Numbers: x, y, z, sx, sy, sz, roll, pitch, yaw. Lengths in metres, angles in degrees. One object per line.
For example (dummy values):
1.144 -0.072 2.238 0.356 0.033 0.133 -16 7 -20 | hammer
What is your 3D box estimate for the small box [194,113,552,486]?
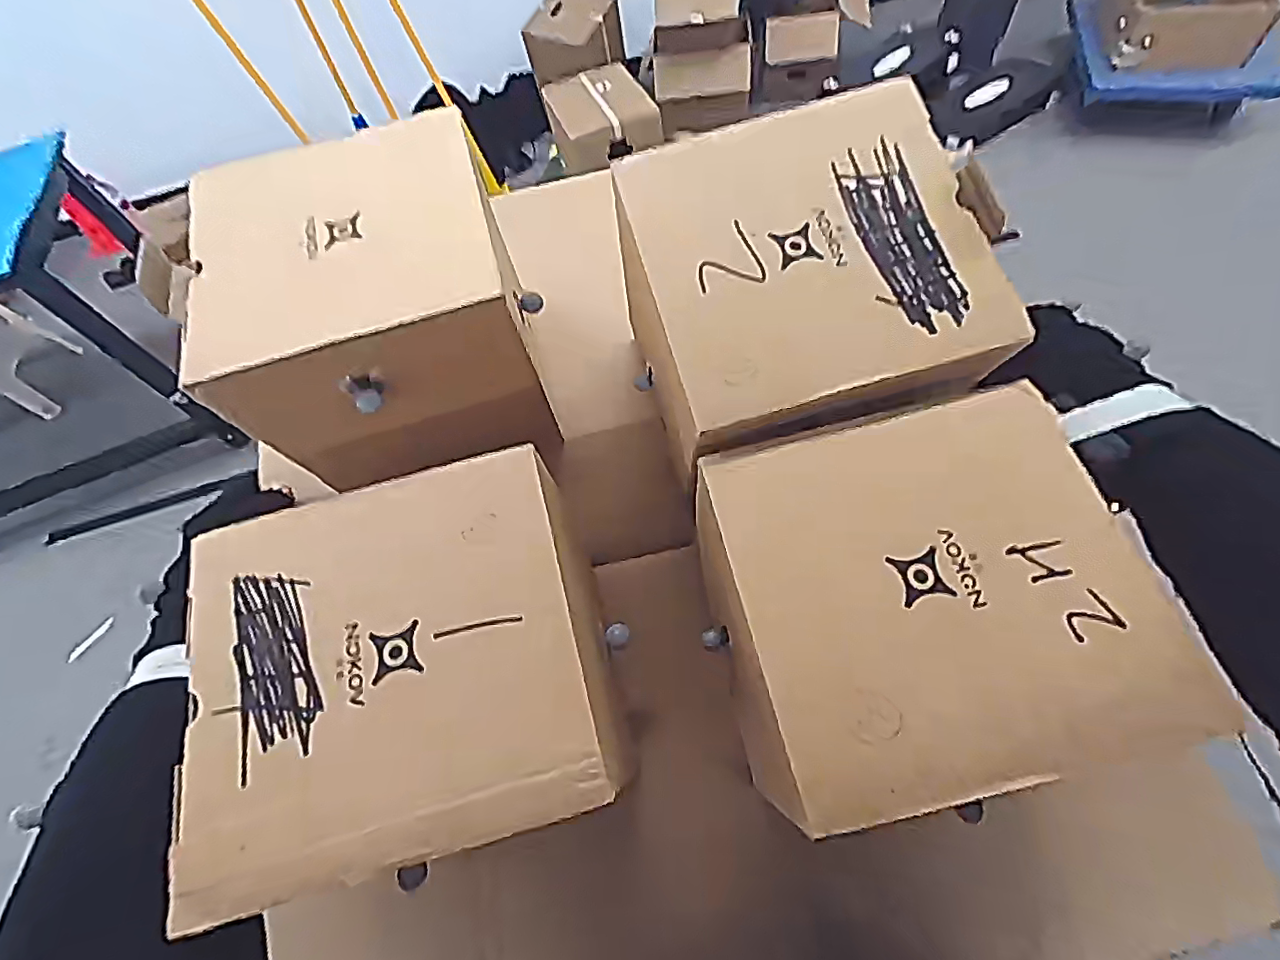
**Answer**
-0.172 -0.116 0.397 0.179 0.176 0.168 -17 67 -2 | small box
